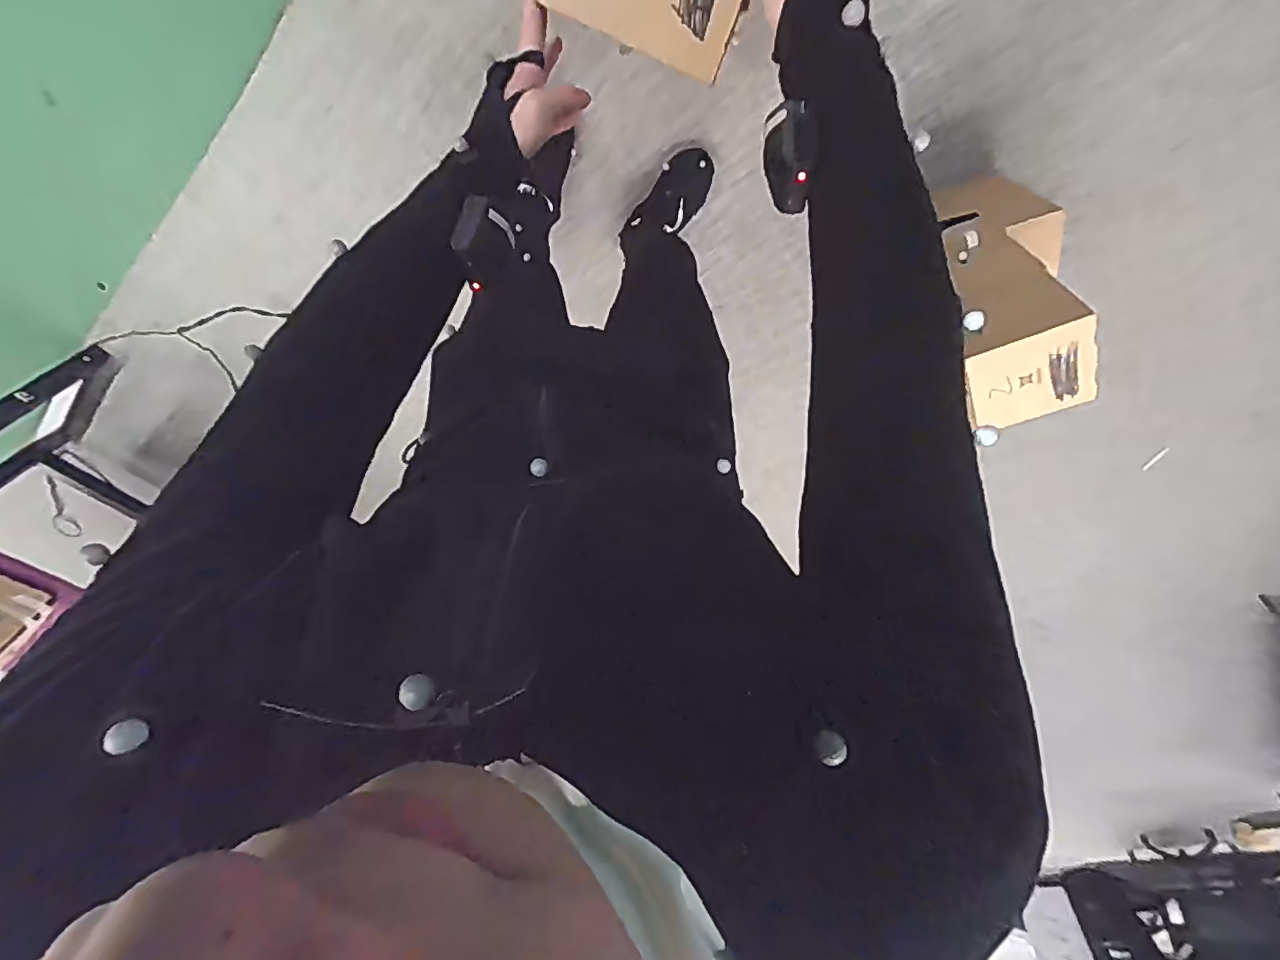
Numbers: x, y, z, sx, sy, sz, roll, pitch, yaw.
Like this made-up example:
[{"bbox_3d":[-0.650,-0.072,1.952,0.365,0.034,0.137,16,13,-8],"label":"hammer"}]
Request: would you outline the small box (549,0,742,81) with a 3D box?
[{"bbox_3d":[0.024,-0.503,0.487,0.179,0.176,0.168,21,133,-9],"label":"small box"}]
